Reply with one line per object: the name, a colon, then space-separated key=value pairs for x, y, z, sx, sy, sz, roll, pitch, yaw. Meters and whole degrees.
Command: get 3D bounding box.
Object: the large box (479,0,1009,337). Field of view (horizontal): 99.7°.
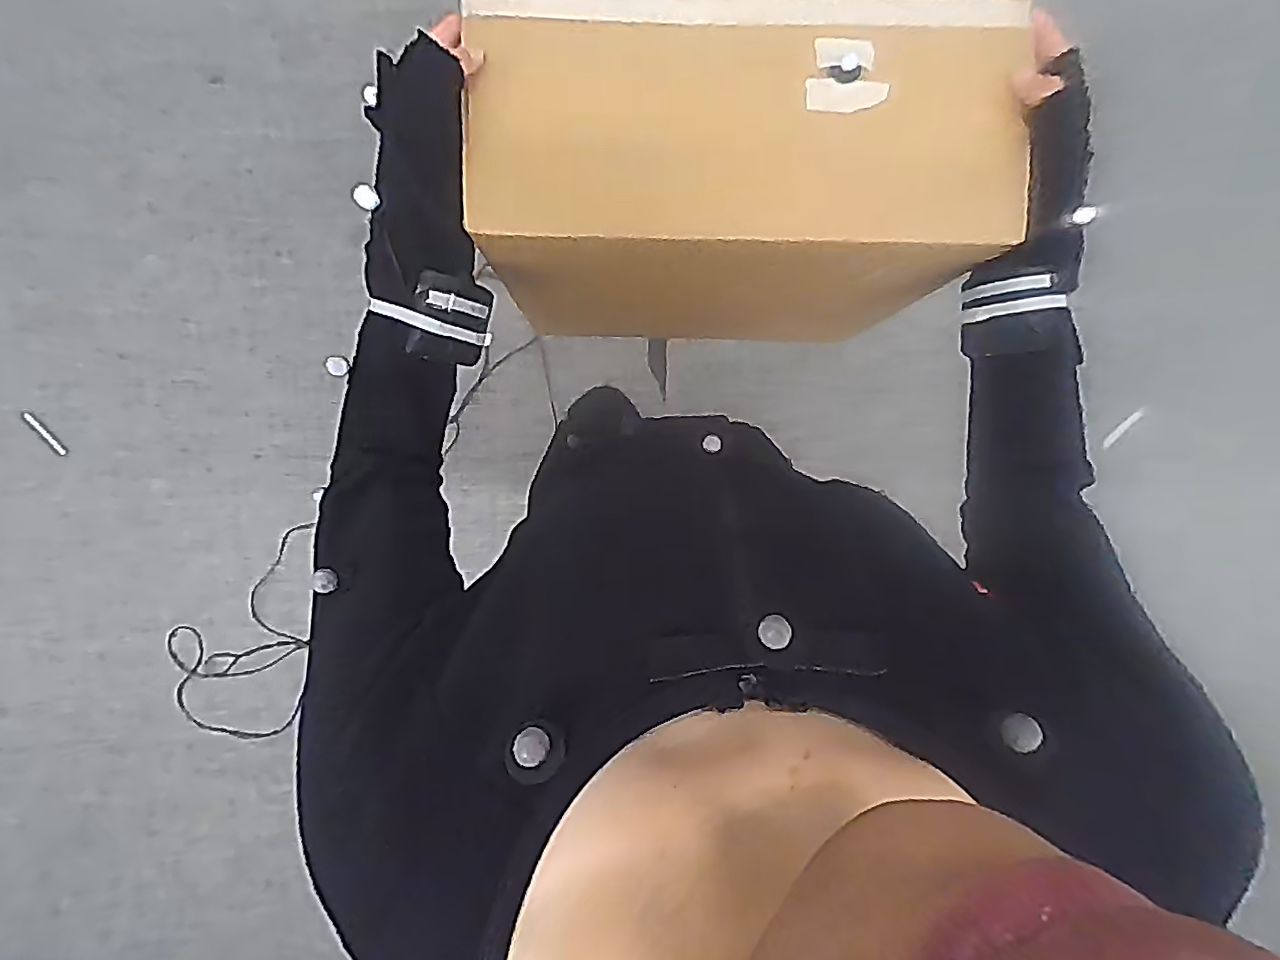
large box: x=0.073 y=-0.338 z=0.550 sx=0.408 sy=0.320 sz=0.320 roll=0 pitch=91 yaw=-2
